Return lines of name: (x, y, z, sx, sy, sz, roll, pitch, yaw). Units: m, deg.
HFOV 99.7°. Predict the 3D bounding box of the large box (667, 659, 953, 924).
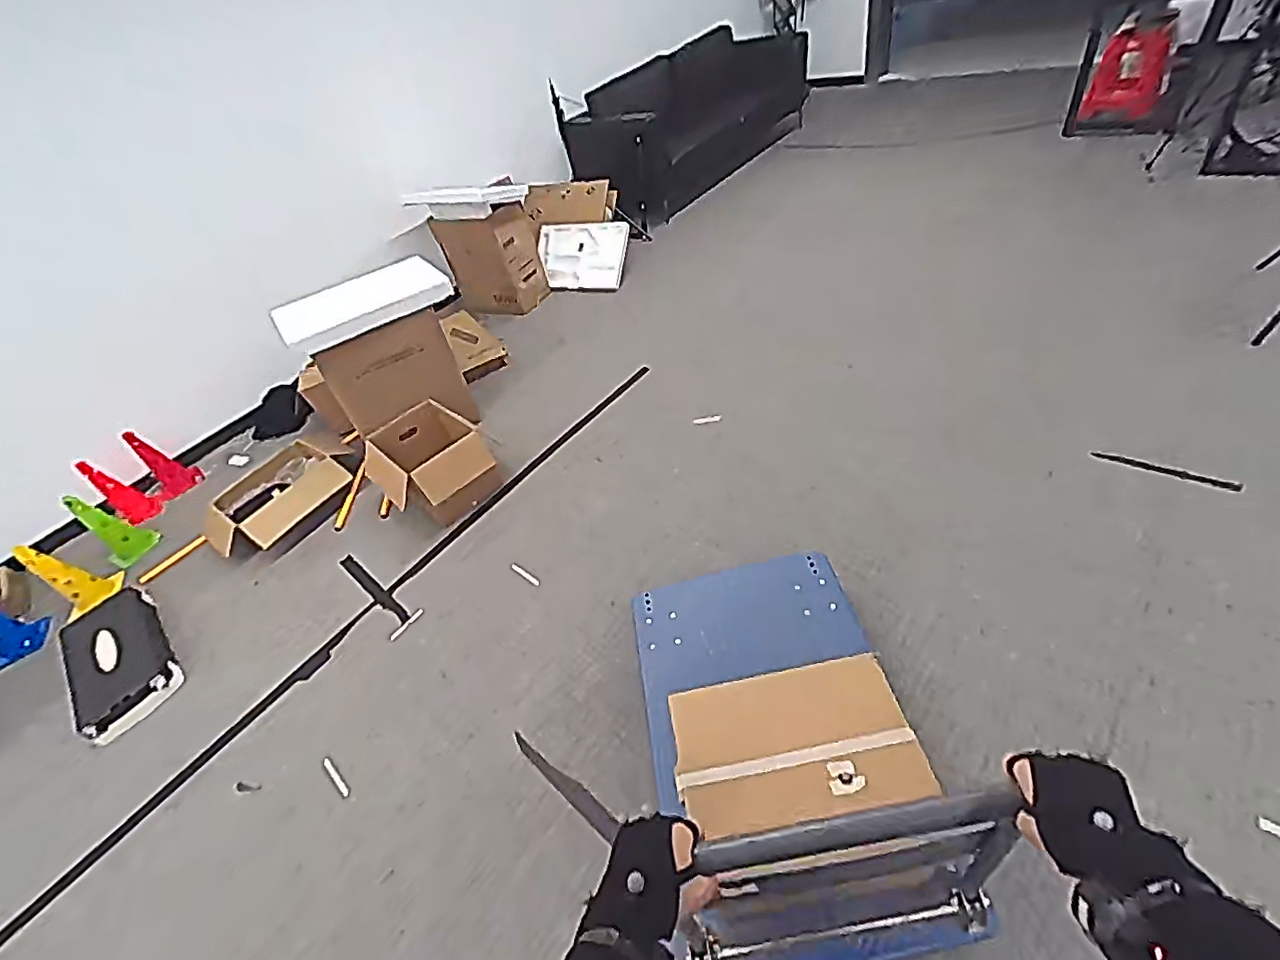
large box: (0.288, 0.592, 1.026, 0.408, 0.320, 0.320, -12, 44, 2)
